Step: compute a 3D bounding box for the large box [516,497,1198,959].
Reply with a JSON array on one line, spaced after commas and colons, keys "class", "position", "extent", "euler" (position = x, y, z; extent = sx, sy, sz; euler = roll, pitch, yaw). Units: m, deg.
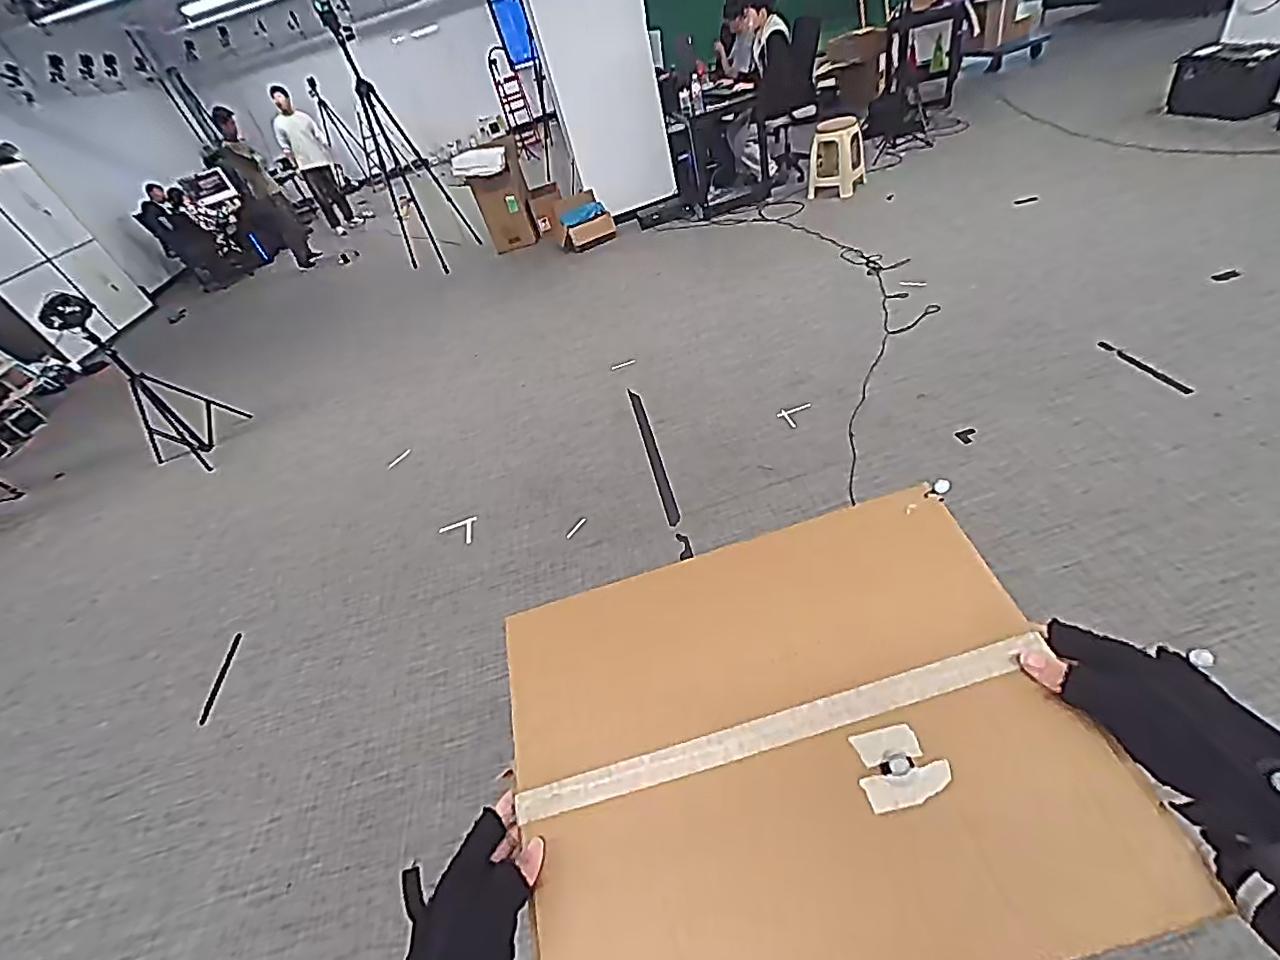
[{"class": "large box", "position": [0.137, 0.279, 0.527], "extent": [0.408, 0.320, 0.320], "euler": [-18, 53, 1]}]
